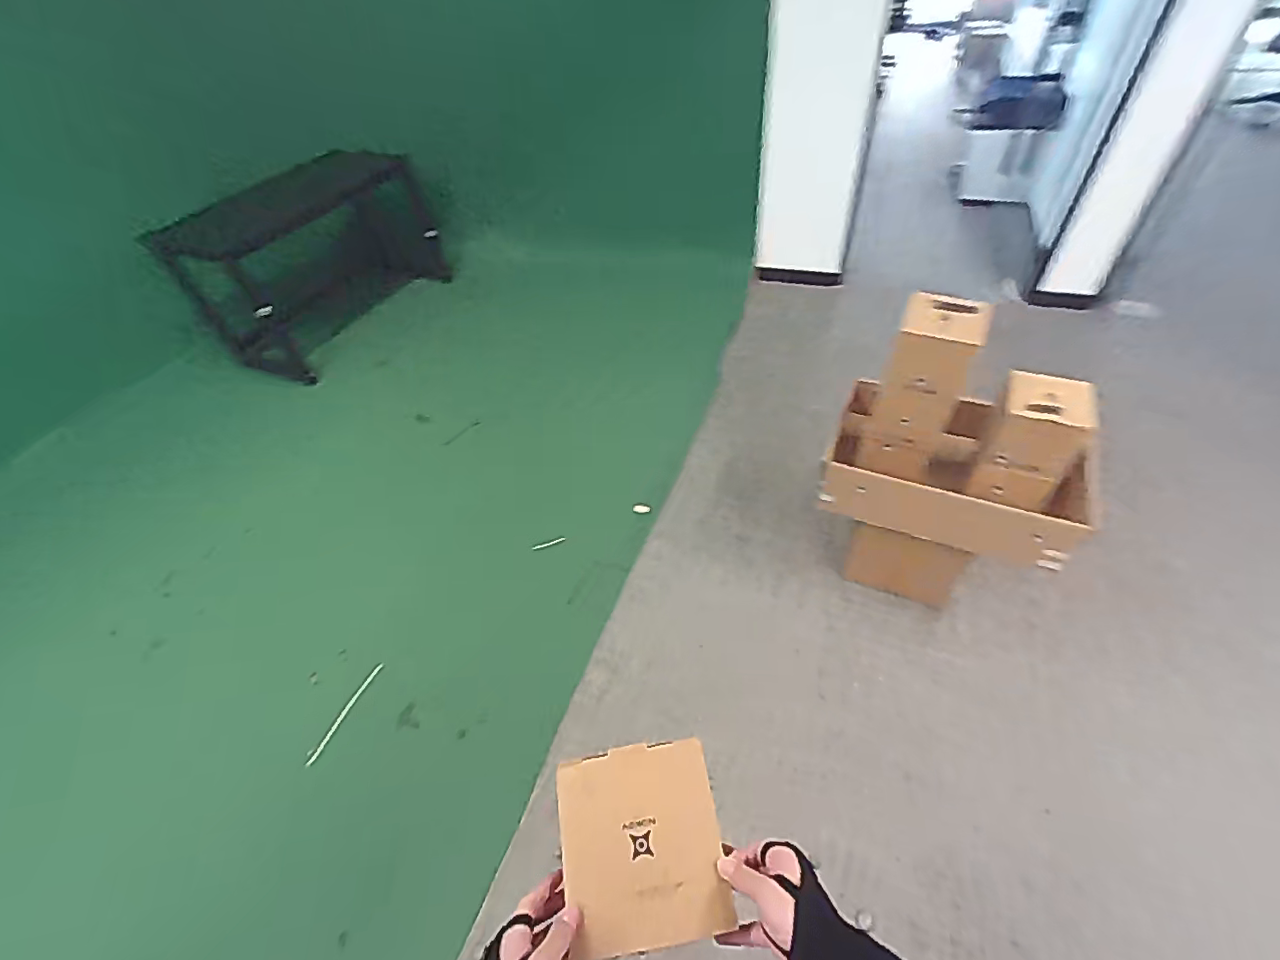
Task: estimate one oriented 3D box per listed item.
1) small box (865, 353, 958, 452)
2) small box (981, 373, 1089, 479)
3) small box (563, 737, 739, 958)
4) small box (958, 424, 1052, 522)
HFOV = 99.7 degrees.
[{"bbox_3d":[0.699,-0.199,1.404,0.168,0.176,0.179,18,53,21],"label":"small box"},{"bbox_3d":[0.948,-0.128,1.309,0.168,0.176,0.179,16,51,21],"label":"small box"},{"bbox_3d":[0.006,0.416,0.626,0.168,0.176,0.179,-8,57,-3],"label":"small box"},{"bbox_3d":[0.962,-0.016,1.430,0.168,0.176,0.179,16,51,21],"label":"small box"}]
